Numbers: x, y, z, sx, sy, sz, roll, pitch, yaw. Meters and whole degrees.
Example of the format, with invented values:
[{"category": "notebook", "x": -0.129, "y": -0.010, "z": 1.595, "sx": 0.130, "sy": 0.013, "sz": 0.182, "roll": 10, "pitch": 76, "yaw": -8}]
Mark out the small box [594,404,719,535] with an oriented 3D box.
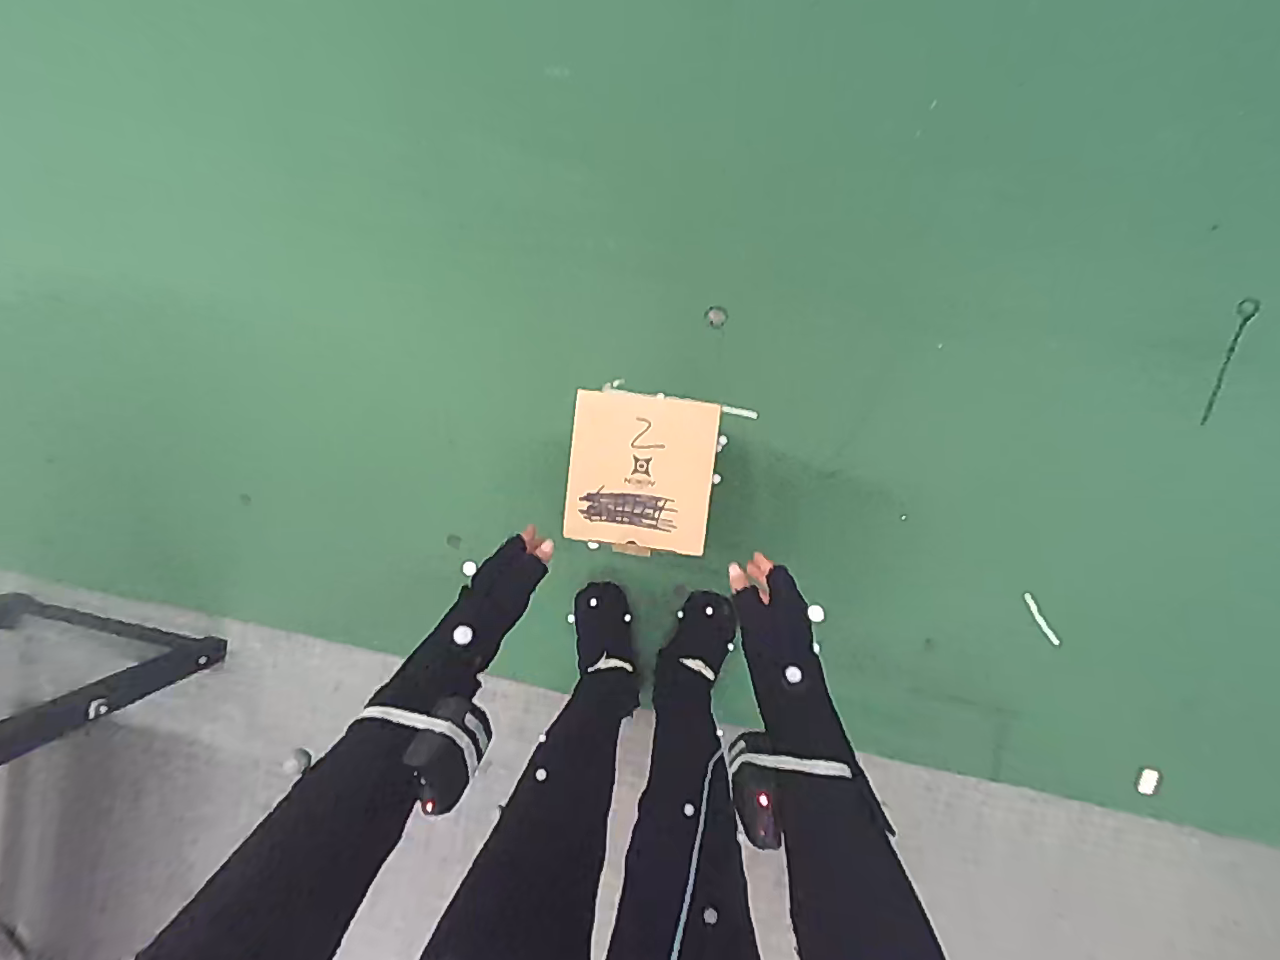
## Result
[{"category": "small box", "x": 0.030, "y": -0.020, "z": 0.862, "sx": 0.168, "sy": 0.176, "sz": 0.179, "roll": 7, "pitch": 95, "yaw": 6}]
